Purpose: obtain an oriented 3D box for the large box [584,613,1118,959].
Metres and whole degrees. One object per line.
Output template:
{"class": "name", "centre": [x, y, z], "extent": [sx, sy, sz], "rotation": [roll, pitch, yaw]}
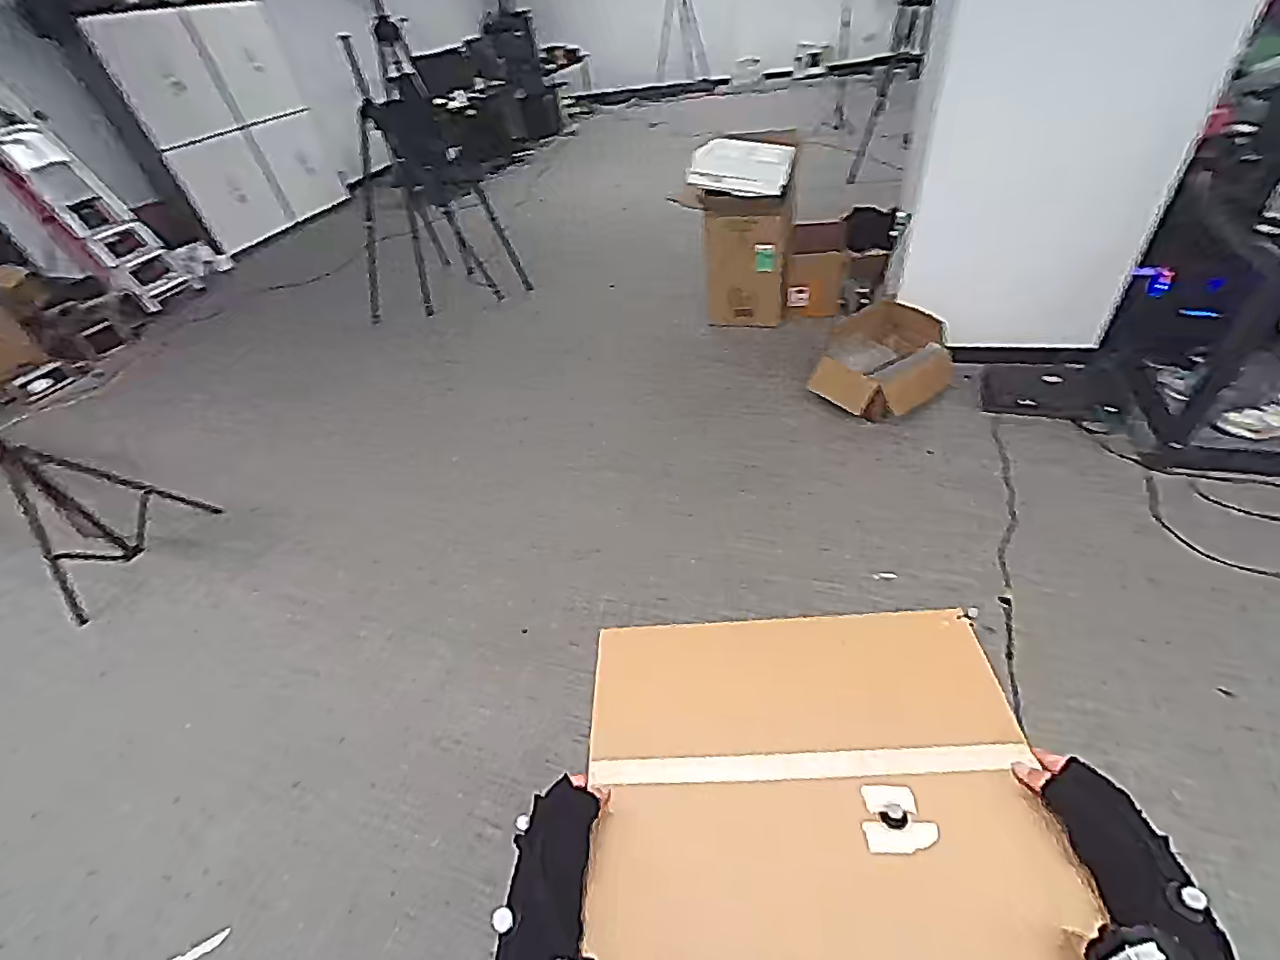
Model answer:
{"class": "large box", "centre": [0.166, 0.381, 0.609], "extent": [0.408, 0.320, 0.320], "rotation": [-5, 43, 5]}
